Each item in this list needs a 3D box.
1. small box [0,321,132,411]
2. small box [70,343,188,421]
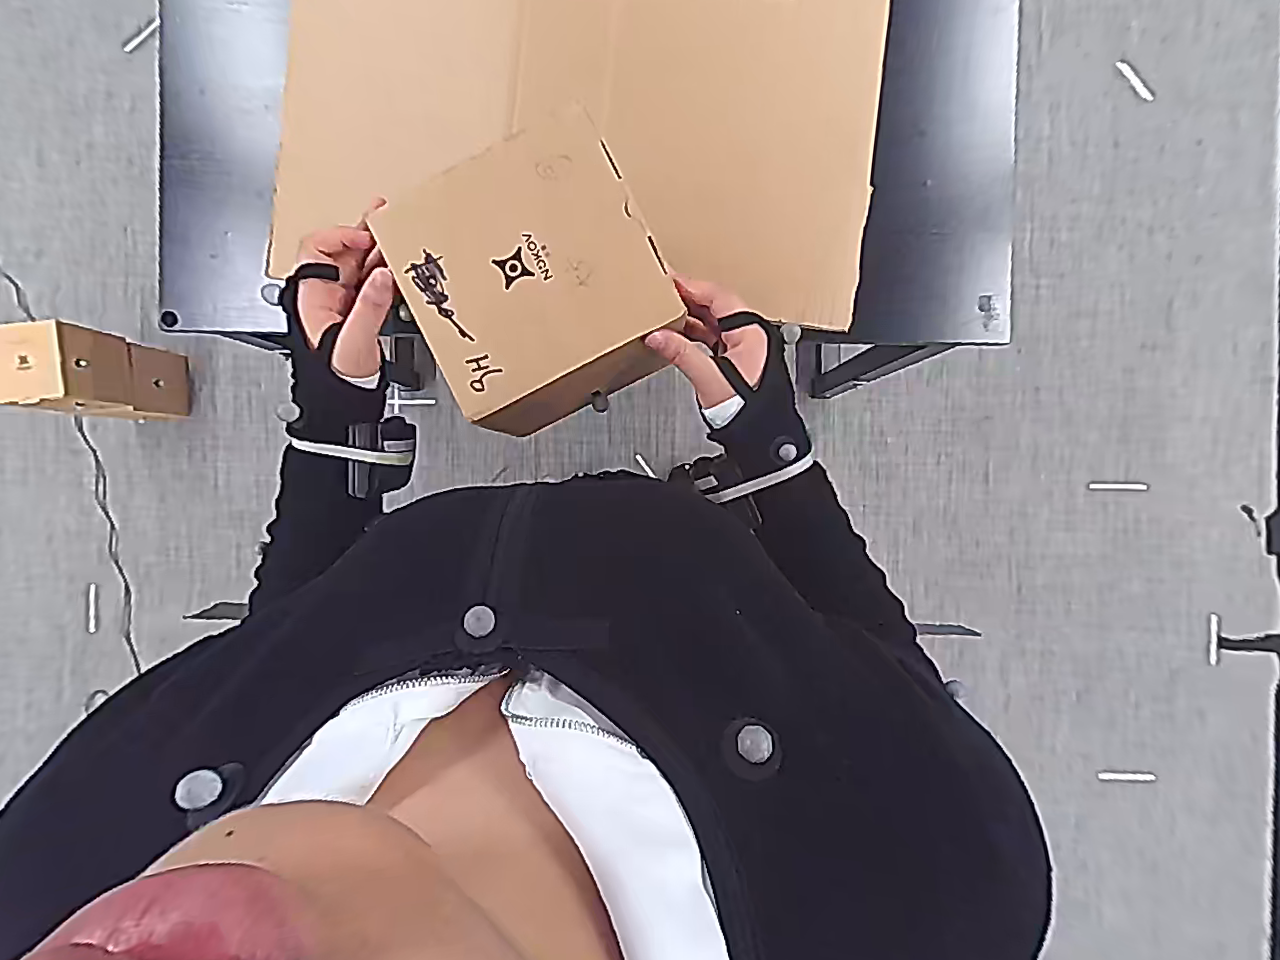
[{"bbox_3d":[-1.353,-0.258,1.271,0.168,0.176,0.179,-6,90,0],"label":"small box"},{"bbox_3d":[-1.350,-0.254,1.434,0.168,0.176,0.179,-3,91,1],"label":"small box"}]
